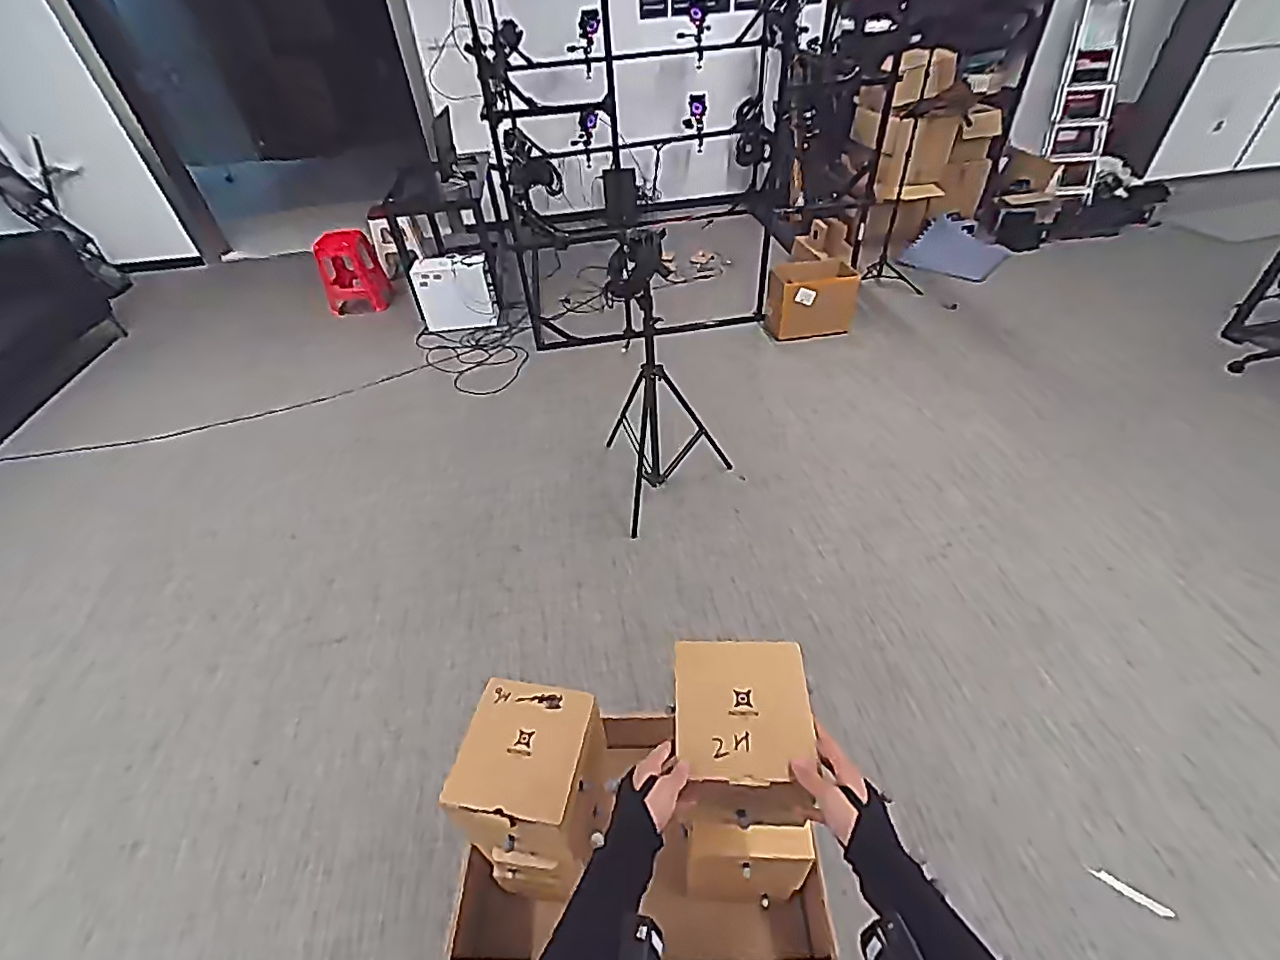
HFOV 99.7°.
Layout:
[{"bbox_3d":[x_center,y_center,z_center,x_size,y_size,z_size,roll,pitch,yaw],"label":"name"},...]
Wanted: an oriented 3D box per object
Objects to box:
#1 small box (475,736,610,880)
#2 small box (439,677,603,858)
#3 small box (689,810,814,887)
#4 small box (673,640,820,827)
[{"bbox_3d":[-0.148,0.537,0.901,0.168,0.176,0.179,3,42,8],"label":"small box"},{"bbox_3d":[-0.157,0.419,0.787,0.168,0.176,0.179,6,43,11],"label":"small box"},{"bbox_3d":[0.167,0.537,0.875,0.179,0.176,0.168,-2,41,5],"label":"small box"},{"bbox_3d":[0.129,0.334,0.717,0.168,0.176,0.179,-1,44,6],"label":"small box"}]
